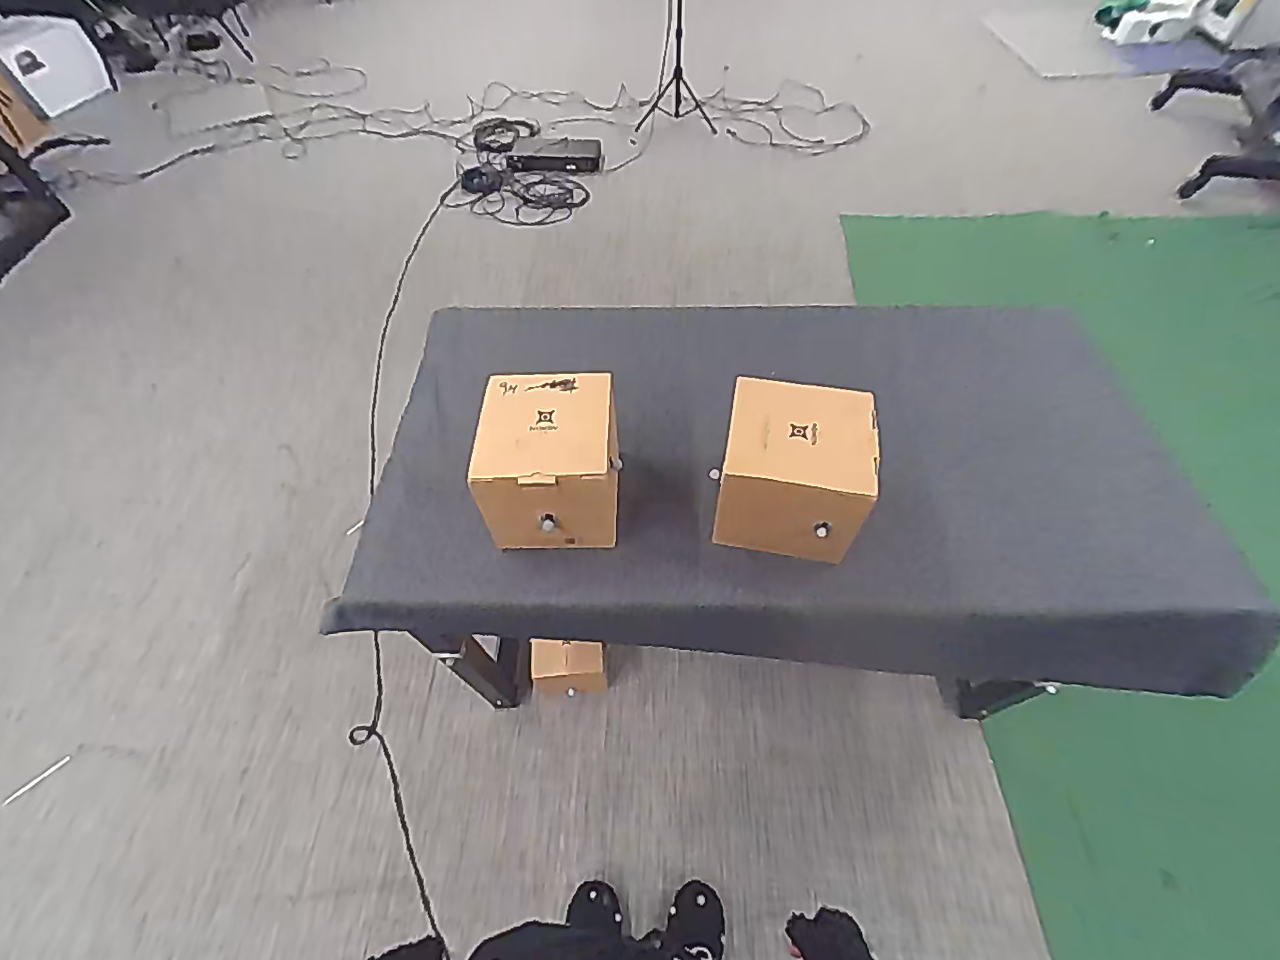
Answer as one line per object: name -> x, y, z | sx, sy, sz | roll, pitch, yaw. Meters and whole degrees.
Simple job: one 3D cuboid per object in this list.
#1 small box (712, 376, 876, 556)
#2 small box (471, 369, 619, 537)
small box -> 0.200, -0.014, 0.729 | 0.179, 0.176, 0.168 | 9, 56, 8
small box -> -0.116, -0.031, 0.745 | 0.168, 0.176, 0.179 | 0, 56, 1
